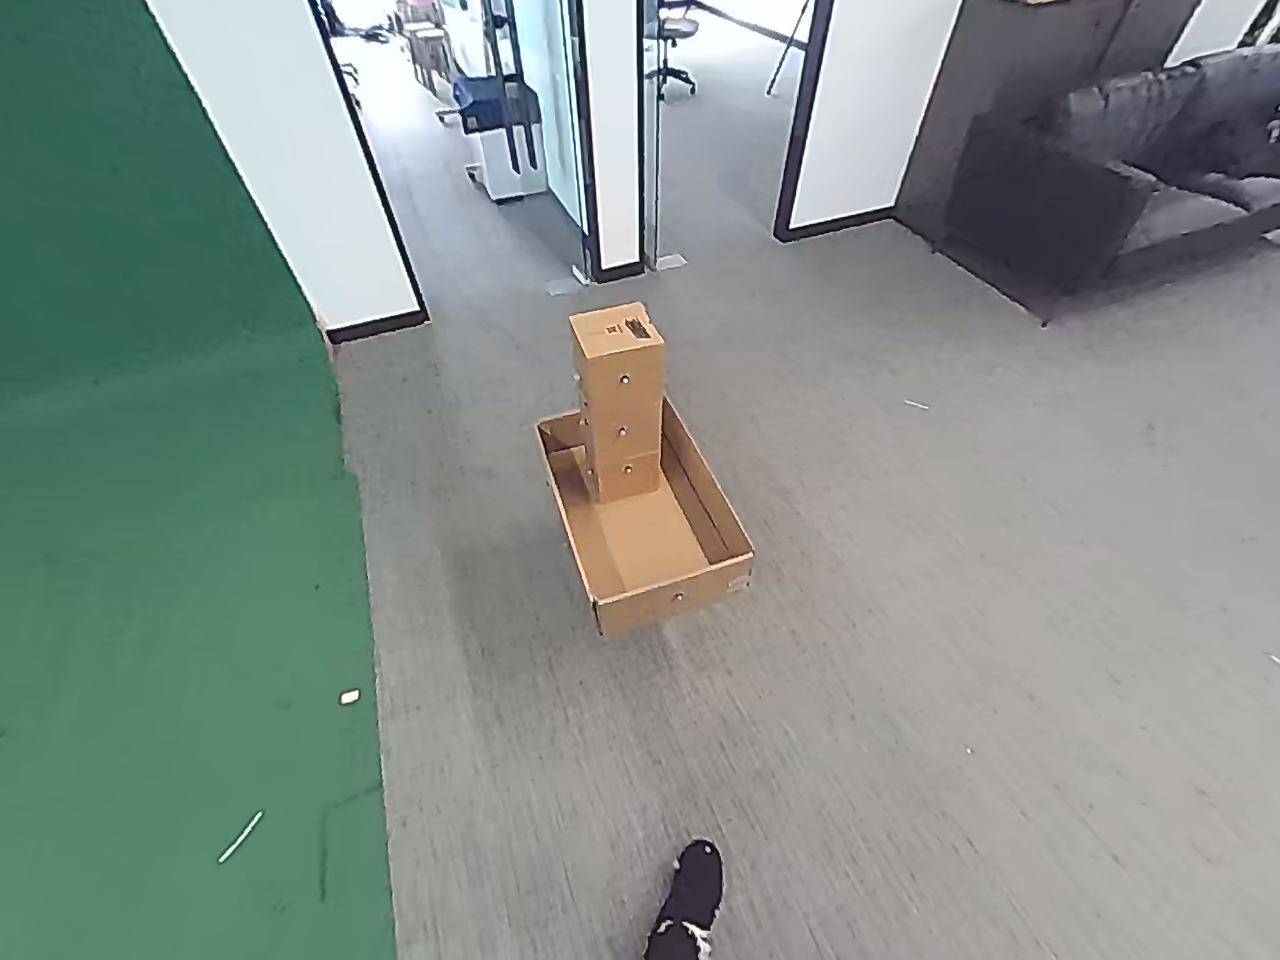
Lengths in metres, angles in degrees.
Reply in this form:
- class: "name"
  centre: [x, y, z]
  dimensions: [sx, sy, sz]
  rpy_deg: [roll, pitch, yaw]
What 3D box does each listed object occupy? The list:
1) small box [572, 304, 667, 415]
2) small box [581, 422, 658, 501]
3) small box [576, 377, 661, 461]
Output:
- class: "small box"
  centre: [-0.050, -0.276, 1.246]
  dimensions: [0.179, 0.176, 0.168]
  rpy_deg: [-14, 52, -12]
- class: "small box"
  centre: [-0.056, -0.062, 1.496]
  dimensions: [0.179, 0.176, 0.168]
  rpy_deg: [-12, 51, -12]
- class: "small box"
  centre: [-0.053, -0.170, 1.372]
  dimensions: [0.179, 0.176, 0.168]
  rpy_deg: [-14, 53, -11]
